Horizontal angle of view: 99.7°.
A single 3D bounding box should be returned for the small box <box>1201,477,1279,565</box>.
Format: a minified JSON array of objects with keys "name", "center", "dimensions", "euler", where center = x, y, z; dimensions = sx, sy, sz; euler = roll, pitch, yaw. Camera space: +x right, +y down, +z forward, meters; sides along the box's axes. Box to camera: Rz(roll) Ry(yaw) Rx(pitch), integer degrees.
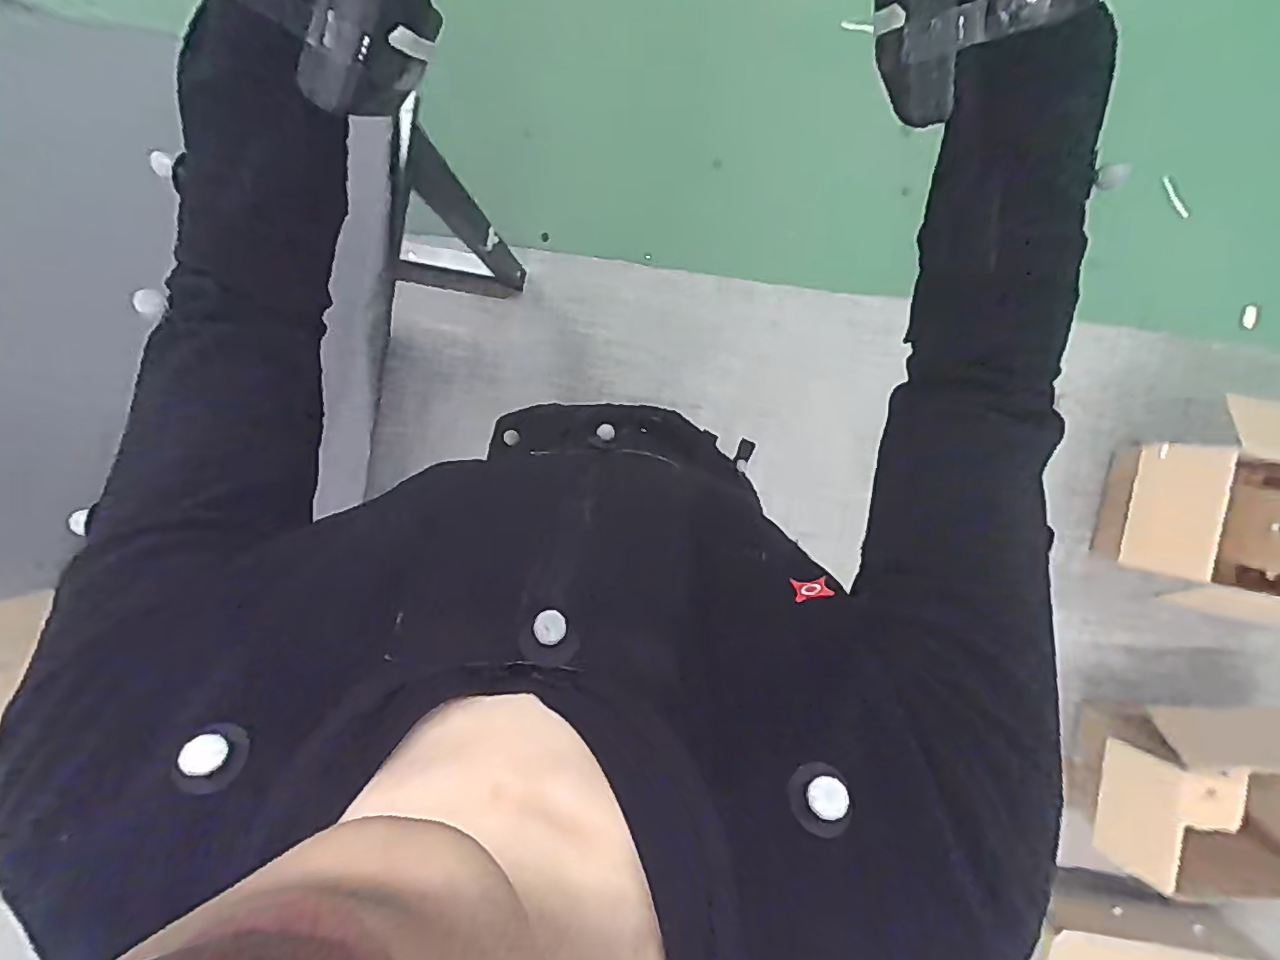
[{"name":"small box","center":[1.438,0.099,1.217],"dimensions":[0.168,0.176,0.179],"euler":[11,95,-2]}]
